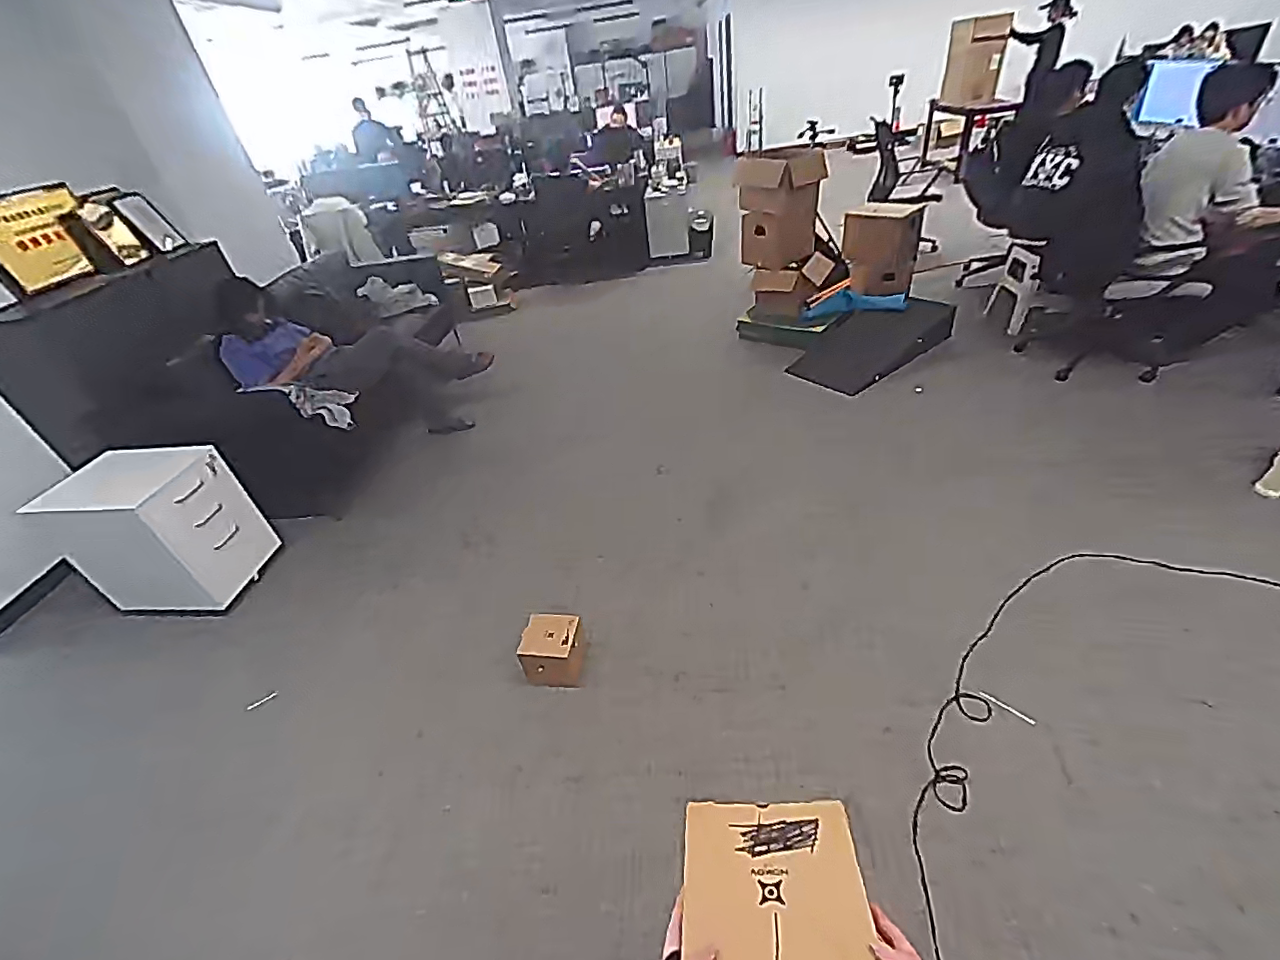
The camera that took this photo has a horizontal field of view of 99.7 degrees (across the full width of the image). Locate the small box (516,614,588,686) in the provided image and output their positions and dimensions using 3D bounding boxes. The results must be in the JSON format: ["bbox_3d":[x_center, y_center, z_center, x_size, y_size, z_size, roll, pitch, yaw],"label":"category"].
[{"bbox_3d":[-0.291,0.573,1.822,0.179,0.176,0.168,0,36,12],"label":"small box"}]

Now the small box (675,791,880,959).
[{"bbox_3d":[0.131,0.441,0.528,0.168,0.176,0.179,-7,17,9],"label":"small box"}]
